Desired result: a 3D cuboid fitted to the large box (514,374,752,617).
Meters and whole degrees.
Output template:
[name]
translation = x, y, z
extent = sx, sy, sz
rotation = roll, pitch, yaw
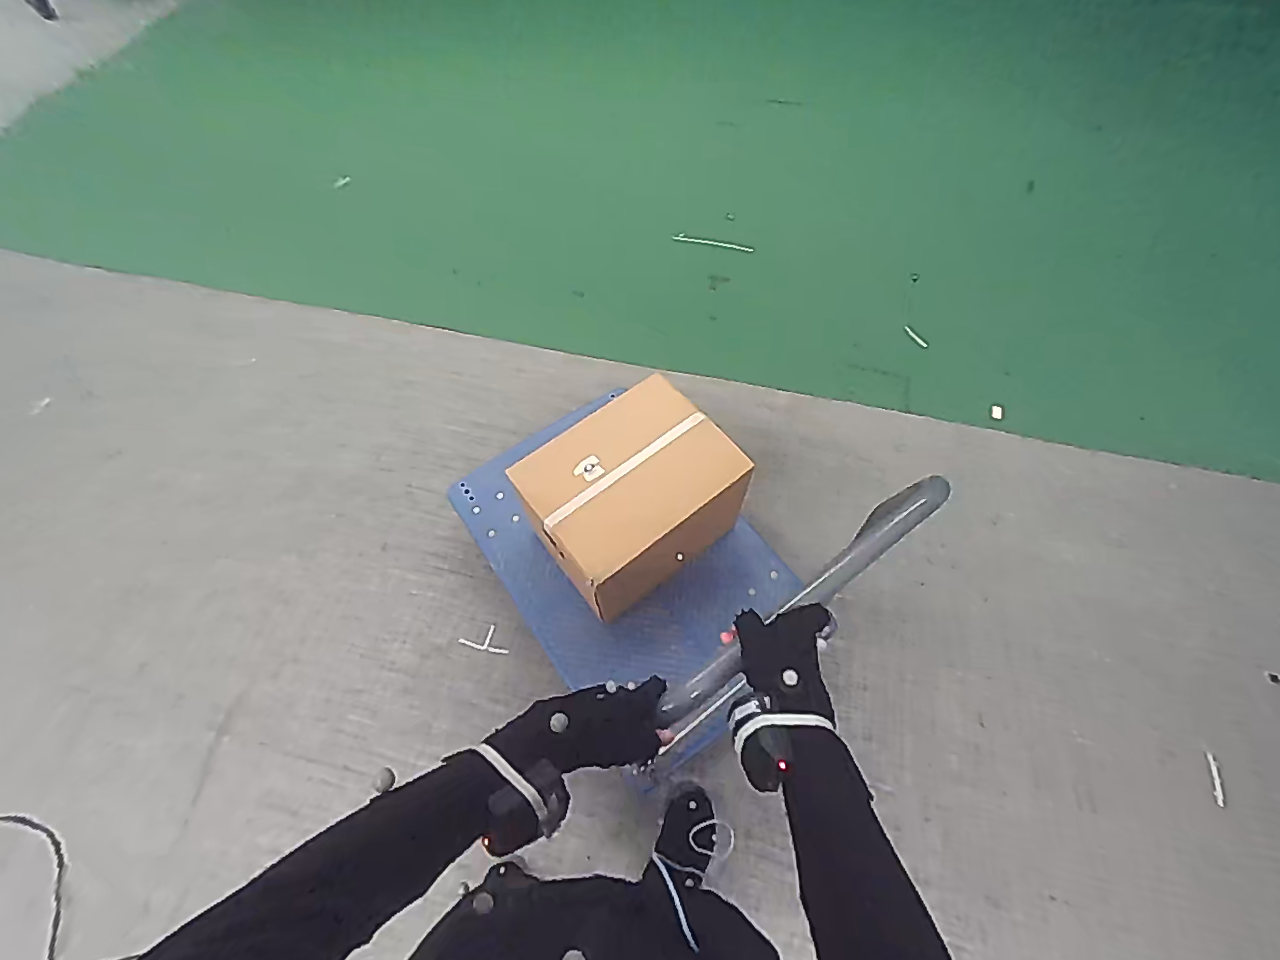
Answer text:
[large box]
translation = -0.009, 0.044, 1.239
extent = 0.408, 0.320, 0.320
rotation = -37, 67, -15
